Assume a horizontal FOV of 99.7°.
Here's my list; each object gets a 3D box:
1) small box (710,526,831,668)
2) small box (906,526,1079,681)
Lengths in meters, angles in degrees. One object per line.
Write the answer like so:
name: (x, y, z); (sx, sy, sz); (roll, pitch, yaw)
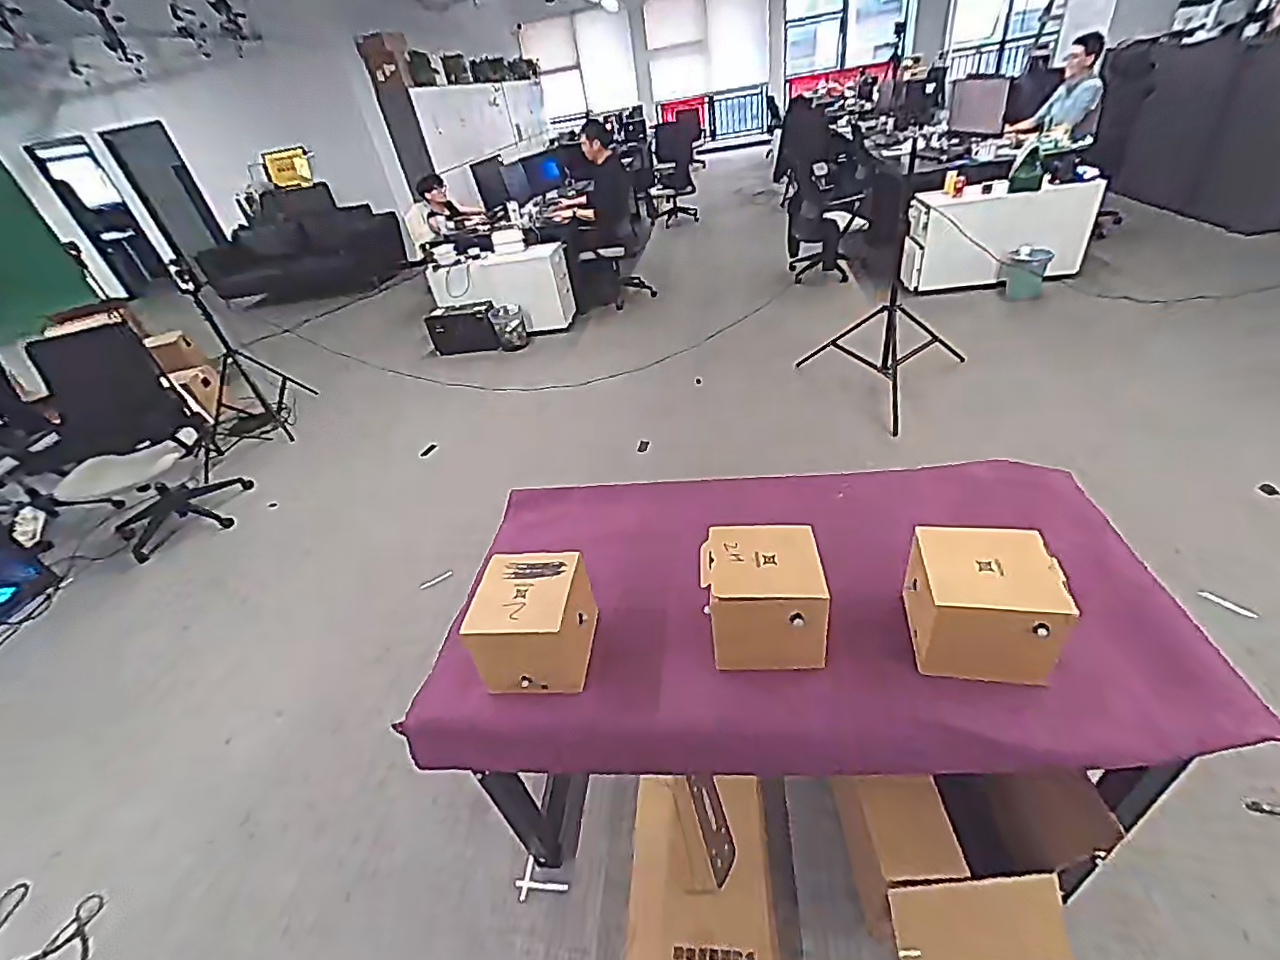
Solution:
small box: (0.210, 0.196, 0.903); (0.179, 0.176, 0.168); (-4, 34, 9)
small box: (0.521, 0.188, 0.833); (0.179, 0.176, 0.168); (0, 37, 15)
